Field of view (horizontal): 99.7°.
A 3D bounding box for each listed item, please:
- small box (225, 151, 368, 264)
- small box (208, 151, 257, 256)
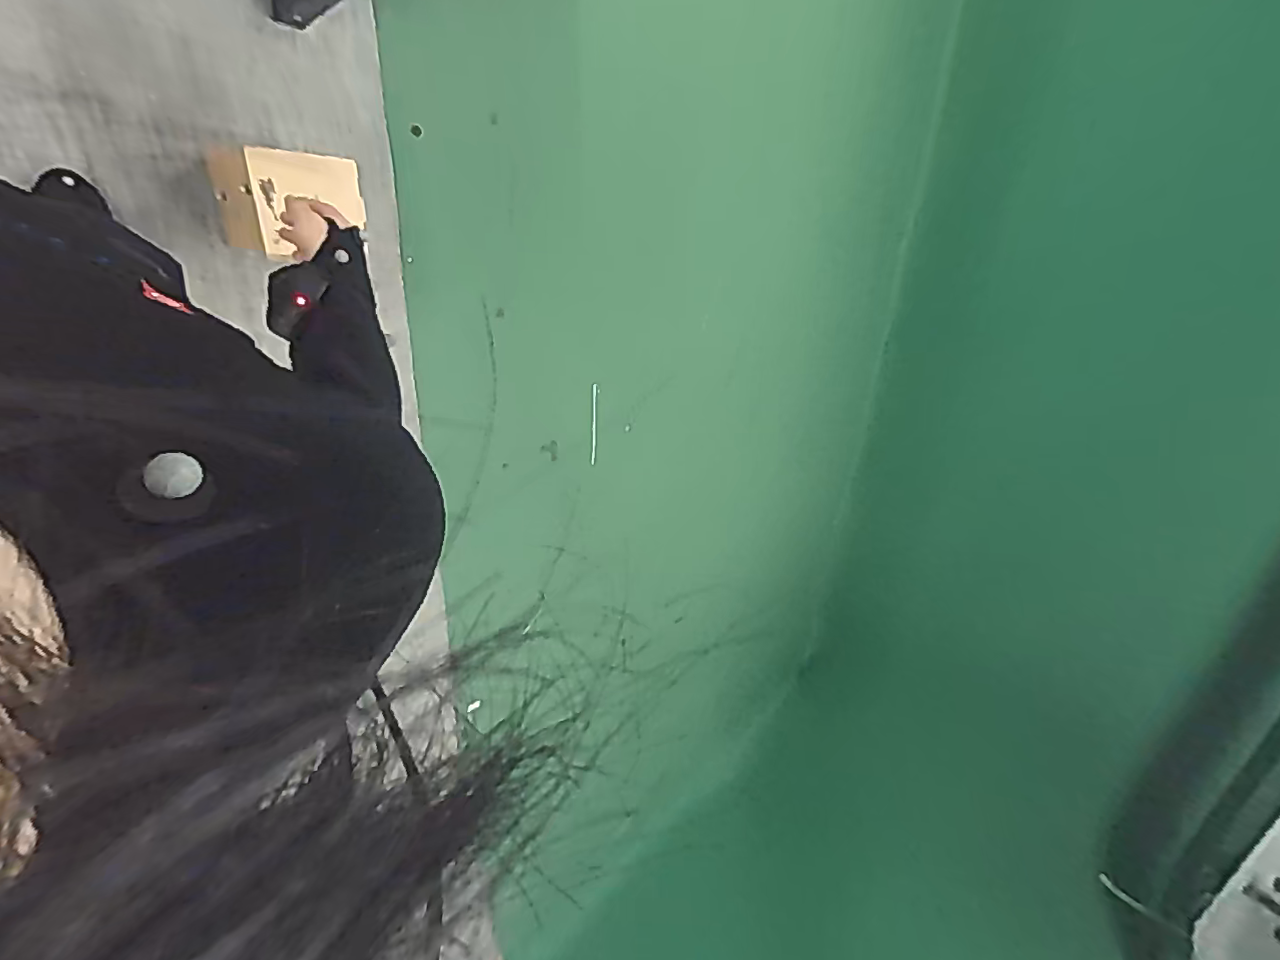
[{"bbox_3d":[-0.636,-0.503,1.007,0.179,0.176,0.168,-18,122,-42],"label":"small box"},{"bbox_3d":[-0.754,-0.558,1.110,0.168,0.176,0.179,-20,122,-40],"label":"small box"}]
